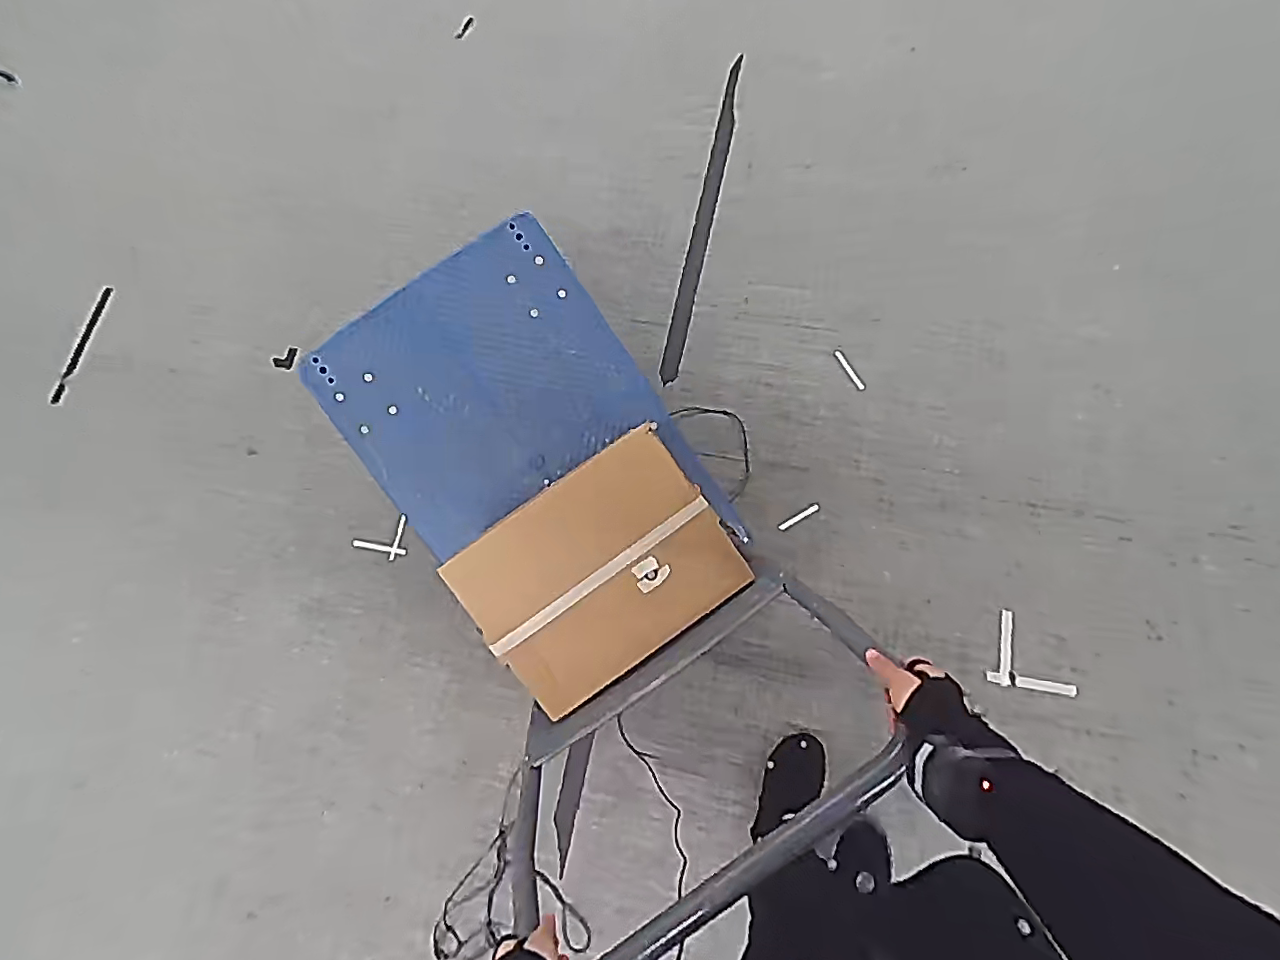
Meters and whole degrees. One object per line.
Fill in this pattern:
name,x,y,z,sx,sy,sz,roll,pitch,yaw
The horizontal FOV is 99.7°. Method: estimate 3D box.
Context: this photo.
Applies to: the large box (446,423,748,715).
large box,-0.078,0.140,1.020,0.408,0.320,0.320,-36,97,-3
